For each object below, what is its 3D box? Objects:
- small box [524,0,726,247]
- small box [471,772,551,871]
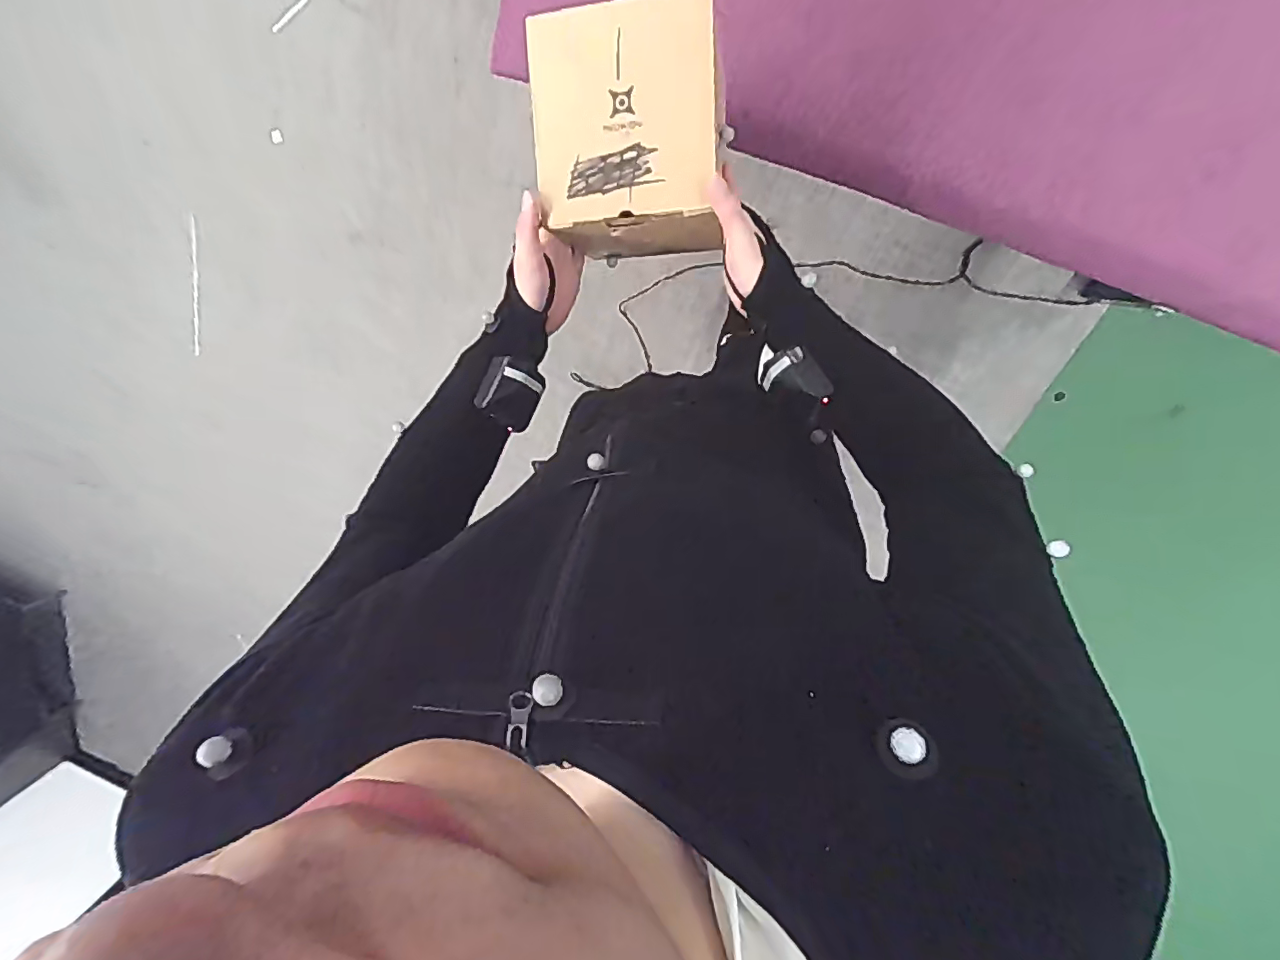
[{"bbox_3d":[-0.001,-0.344,0.545,0.168,0.176,0.179,0,101,12],"label":"small box"},{"bbox_3d":[-0.402,1.072,1.707,0.168,0.176,0.179,27,117,2],"label":"small box"}]
